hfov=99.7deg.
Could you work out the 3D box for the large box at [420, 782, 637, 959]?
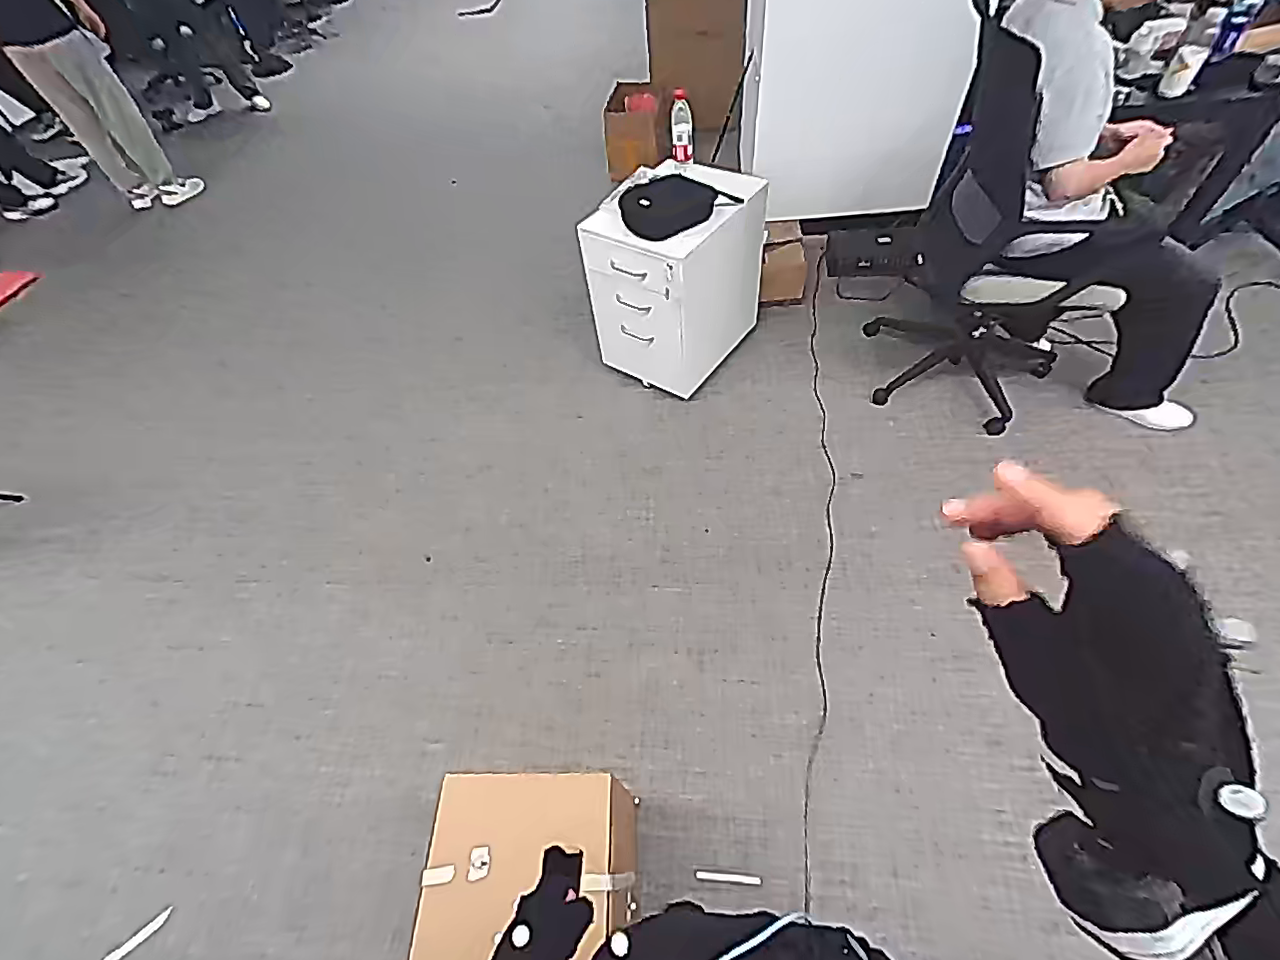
[{"bbox_3d":[-0.182,0.779,1.043,0.320,0.408,0.320,-2,55,4],"label":"large box"}]
